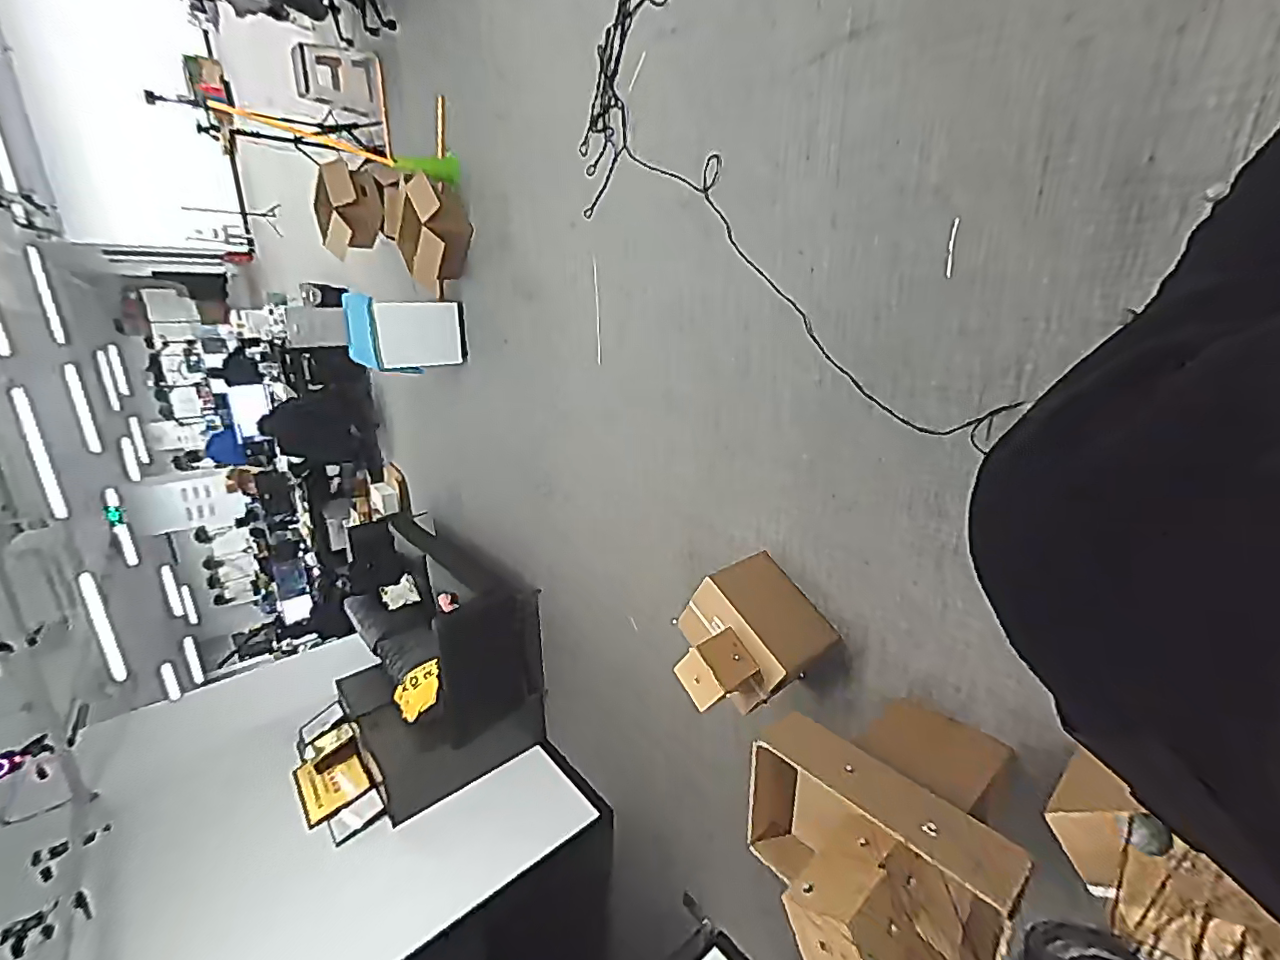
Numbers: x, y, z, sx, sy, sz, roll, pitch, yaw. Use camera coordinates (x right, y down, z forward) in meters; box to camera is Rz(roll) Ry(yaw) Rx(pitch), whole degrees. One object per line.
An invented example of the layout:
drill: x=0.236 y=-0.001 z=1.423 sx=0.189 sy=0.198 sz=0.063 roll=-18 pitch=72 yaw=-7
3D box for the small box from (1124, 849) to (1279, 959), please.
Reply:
small box: x=0.975 y=0.768 z=0.907 sx=0.168 sy=0.176 sz=0.179 roll=-38 pitch=71 yaw=50

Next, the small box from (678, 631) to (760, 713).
small box: x=0.261 y=0.626 z=1.772 sx=0.168 sy=0.176 sz=0.179 roll=54 pitch=139 yaw=26

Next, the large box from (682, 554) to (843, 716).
large box: x=0.428 y=0.542 z=1.935 sx=0.408 sy=0.320 sz=0.320 roll=52 pitch=136 yaw=30

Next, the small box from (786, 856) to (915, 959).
small box: x=0.460 y=0.969 z=1.184 sx=0.179 sy=0.176 sz=0.168 roll=-26 pitch=82 yaw=51
